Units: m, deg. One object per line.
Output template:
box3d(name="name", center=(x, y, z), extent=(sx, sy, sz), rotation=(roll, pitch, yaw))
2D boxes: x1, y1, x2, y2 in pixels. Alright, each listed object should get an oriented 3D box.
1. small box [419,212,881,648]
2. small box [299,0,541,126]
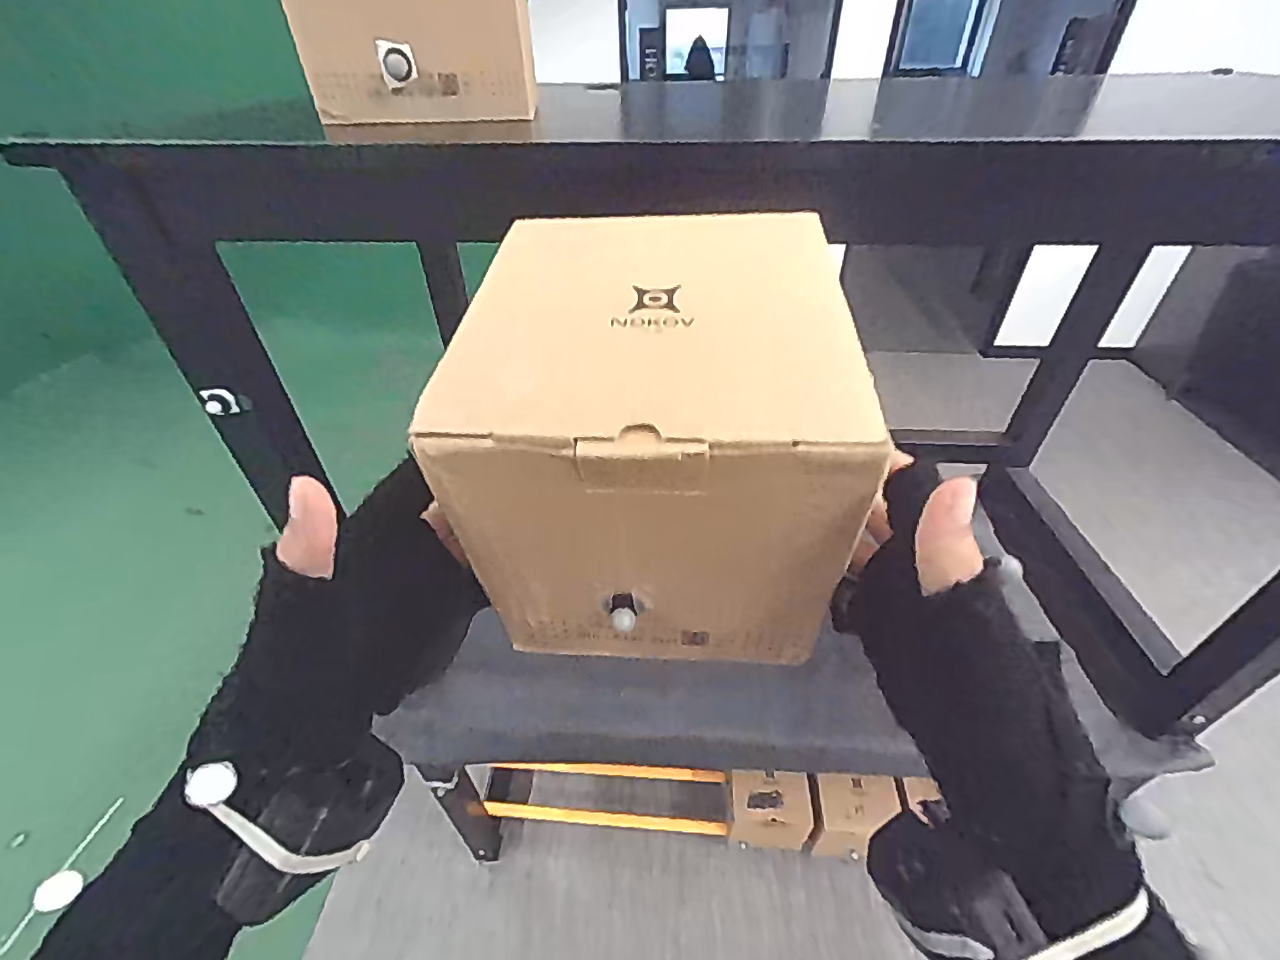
box3d(name="small box", center=(0.010, -0.029, 0.301), extent=(0.168, 0.176, 0.179), rotation=(1, 48, 5))
box3d(name="small box", center=(-0.177, -0.405, 0.451), extent=(0.168, 0.176, 0.179), rotation=(-6, 40, -5))
